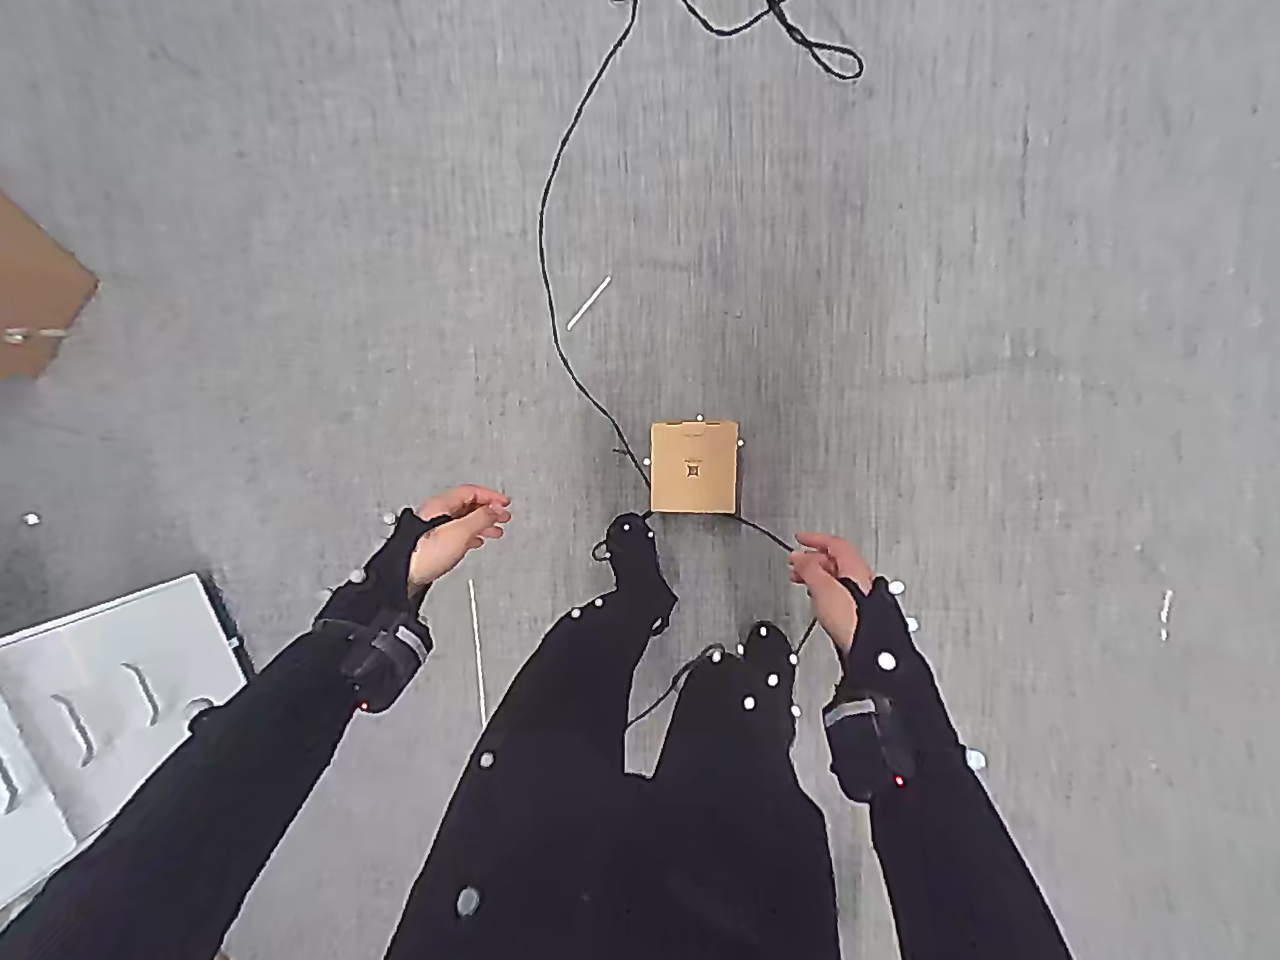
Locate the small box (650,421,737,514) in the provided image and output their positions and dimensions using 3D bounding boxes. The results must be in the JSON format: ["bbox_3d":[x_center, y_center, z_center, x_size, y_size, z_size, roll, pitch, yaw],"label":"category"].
[{"bbox_3d":[0.110,-0.032,1.120,0.168,0.176,0.179,1,97,5],"label":"small box"}]
